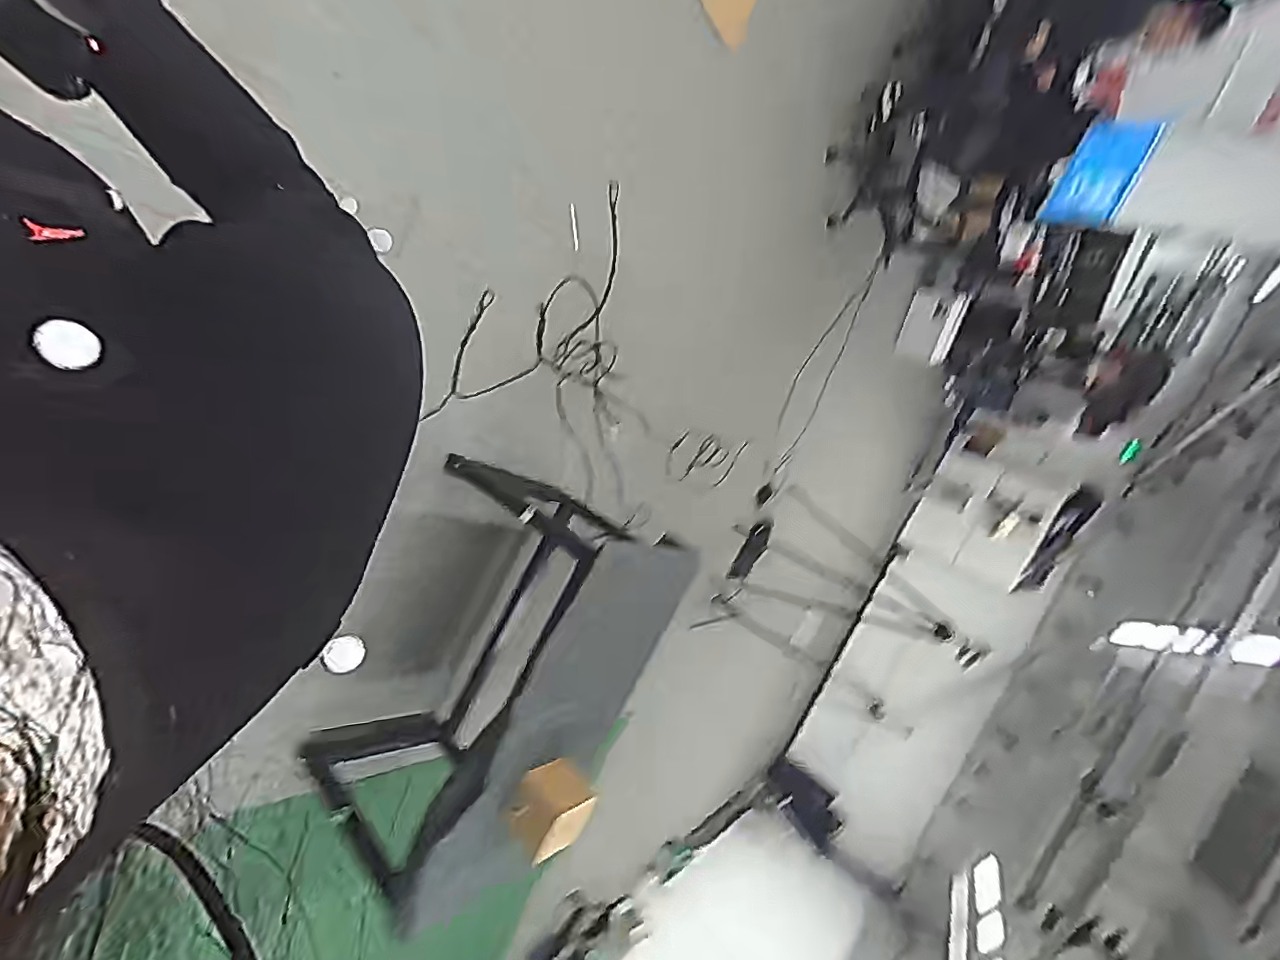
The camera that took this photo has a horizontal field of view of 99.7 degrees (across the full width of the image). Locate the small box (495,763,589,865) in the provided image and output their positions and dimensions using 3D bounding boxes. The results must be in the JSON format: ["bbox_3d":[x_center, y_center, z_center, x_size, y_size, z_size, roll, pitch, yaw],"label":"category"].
[{"bbox_3d":[-0.290,0.976,1.599,0.179,0.176,0.168,20,97,-57],"label":"small box"}]
